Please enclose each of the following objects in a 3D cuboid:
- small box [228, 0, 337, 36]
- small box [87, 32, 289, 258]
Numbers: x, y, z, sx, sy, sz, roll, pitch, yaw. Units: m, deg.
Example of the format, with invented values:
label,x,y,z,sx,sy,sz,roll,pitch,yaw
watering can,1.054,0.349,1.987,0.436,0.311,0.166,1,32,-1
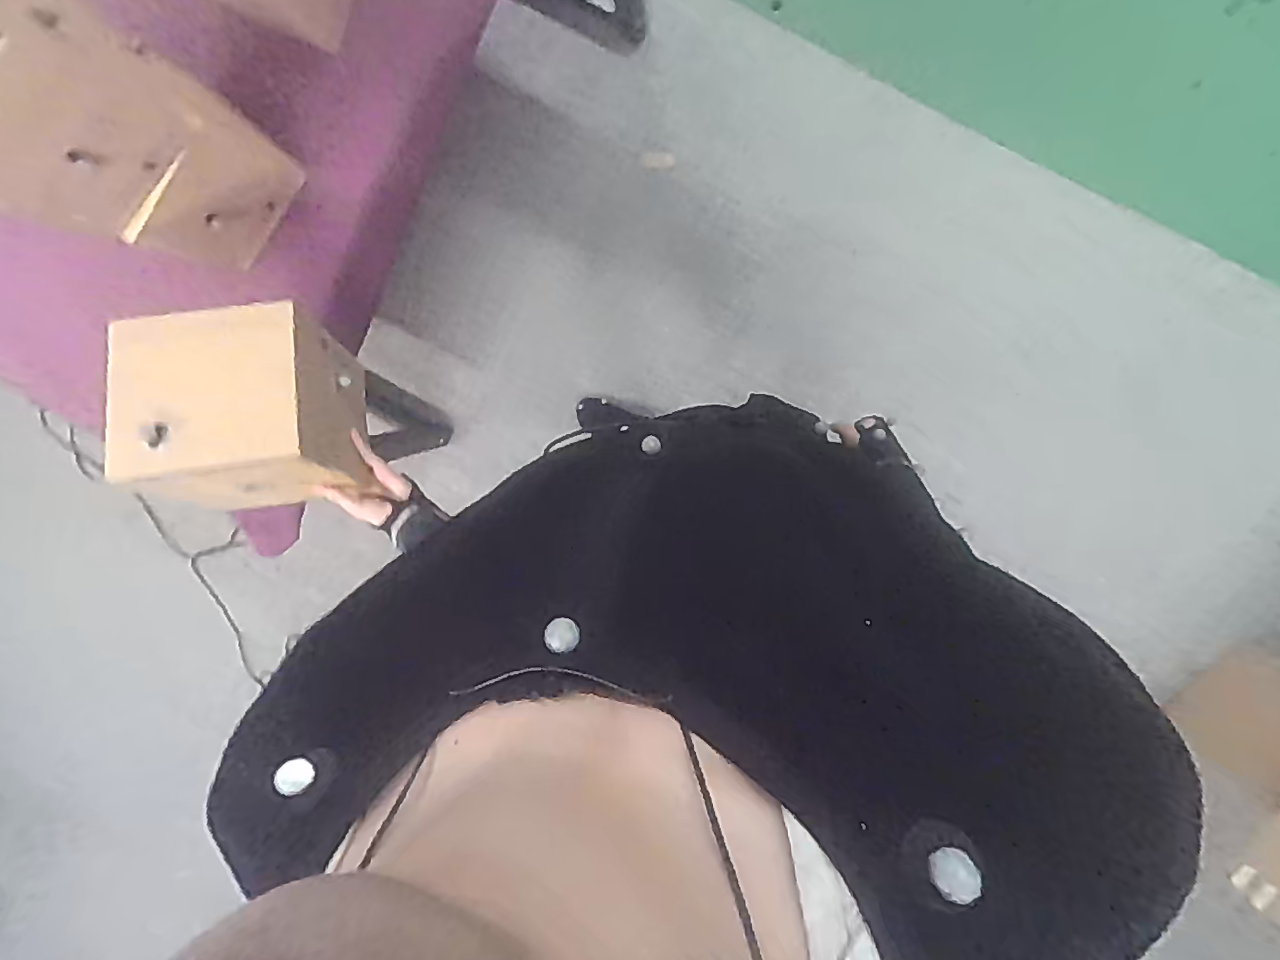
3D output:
label,x,y,z,sx,sy,sz,roll,pitch,yaw
small box,-0.458,-0.650,0.600,0.179,0.176,0.168,25,103,0
small box,-0.588,-0.399,0.665,0.179,0.176,0.168,42,103,-2
